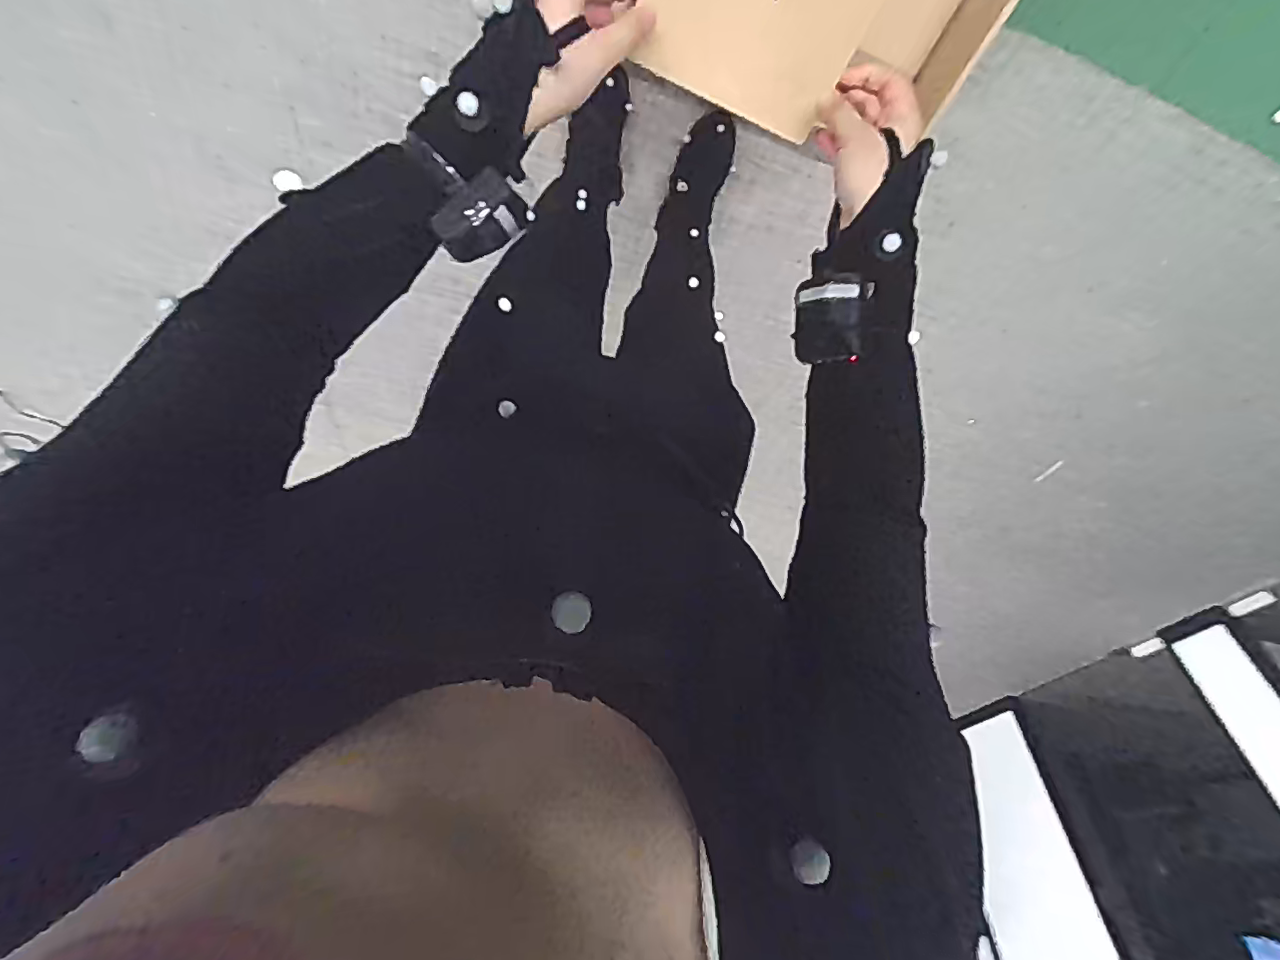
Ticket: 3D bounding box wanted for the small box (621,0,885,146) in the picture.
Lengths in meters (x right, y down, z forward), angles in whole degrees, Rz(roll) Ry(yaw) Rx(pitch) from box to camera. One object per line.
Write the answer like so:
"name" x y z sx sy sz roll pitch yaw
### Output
"small box" 0.089 -0.412 0.429 0.168 0.176 0.179 13 132 -20
